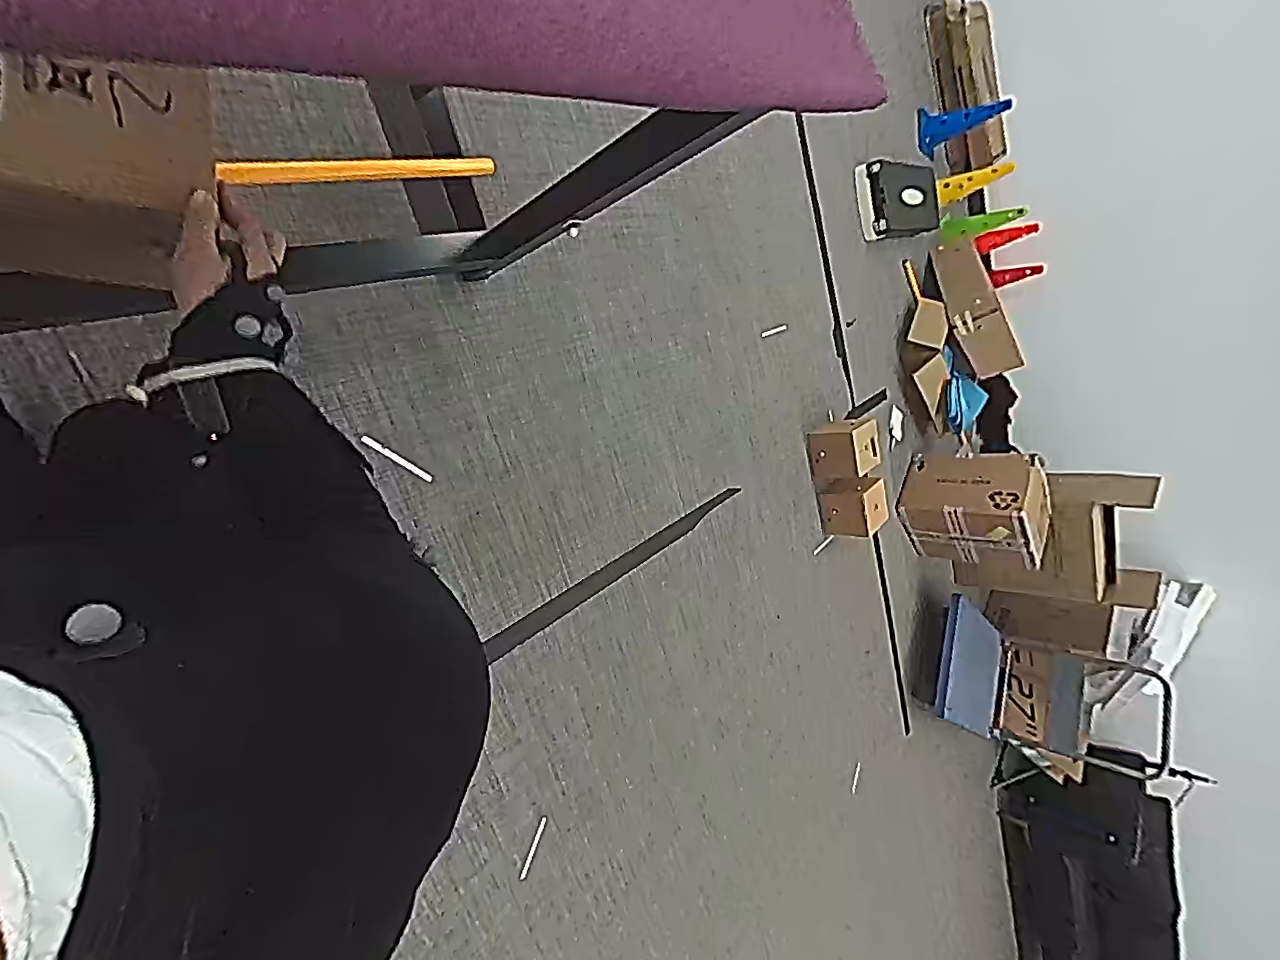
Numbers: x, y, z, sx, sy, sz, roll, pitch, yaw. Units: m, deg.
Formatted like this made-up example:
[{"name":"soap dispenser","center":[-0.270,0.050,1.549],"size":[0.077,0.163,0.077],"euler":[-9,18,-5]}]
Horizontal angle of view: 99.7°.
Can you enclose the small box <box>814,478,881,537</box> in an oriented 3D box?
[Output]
[{"name":"small box","center":[0.765,0.096,1.994],"size":[0.179,0.176,0.168],"euler":[-28,110,-40]}]

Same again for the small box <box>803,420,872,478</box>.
[{"name":"small box","center":[0.705,-0.113,1.929],"size":[0.179,0.176,0.168],"euler":[-25,108,-40]}]
